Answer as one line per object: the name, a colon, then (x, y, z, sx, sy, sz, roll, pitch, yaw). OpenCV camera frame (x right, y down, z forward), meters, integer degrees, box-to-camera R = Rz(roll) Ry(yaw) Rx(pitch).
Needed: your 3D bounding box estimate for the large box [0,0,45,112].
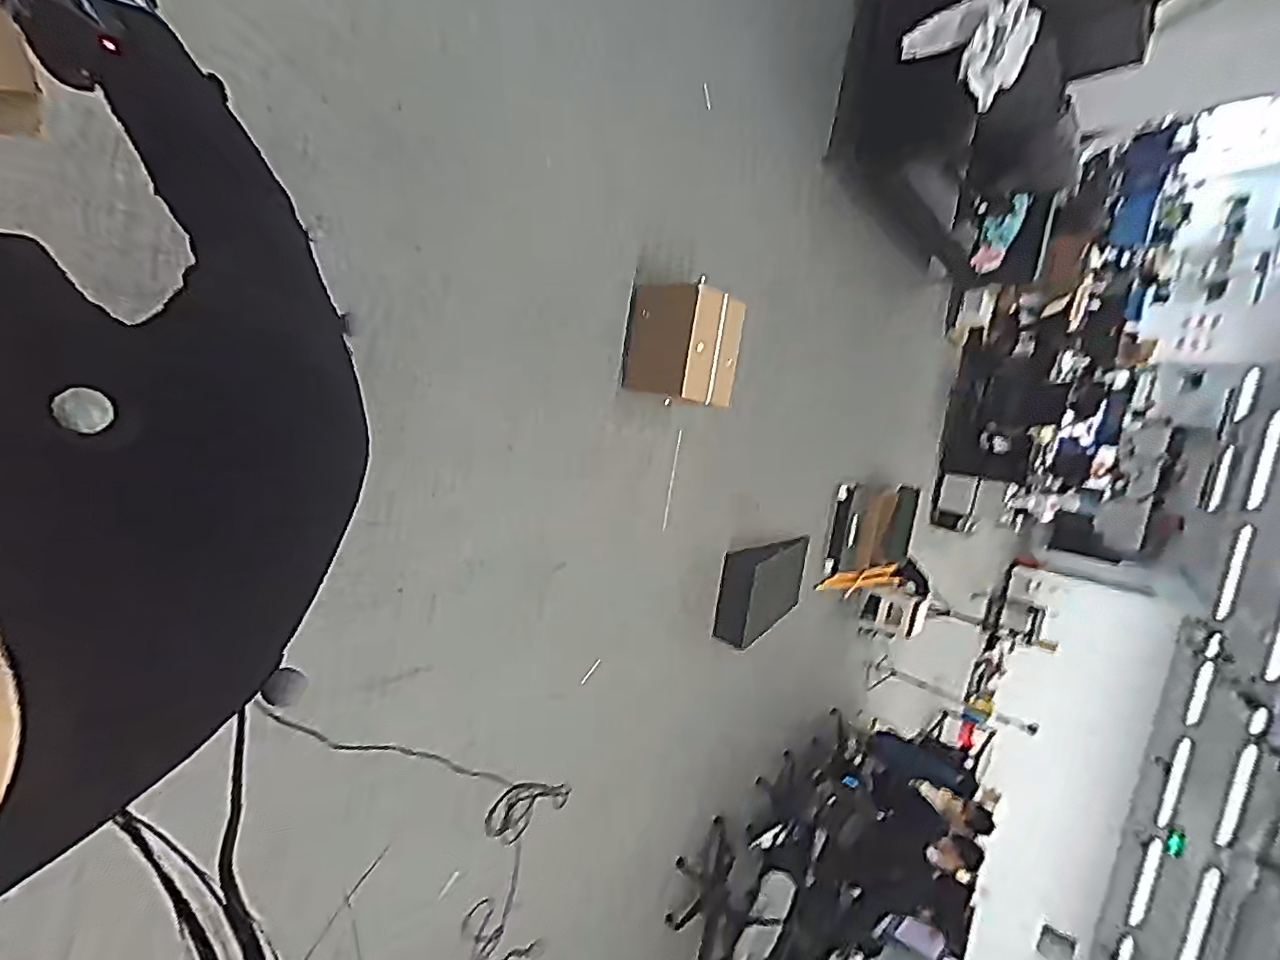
large box: (-0.682, -0.422, 0.301, 0.408, 0.320, 0.320, -22, 124, -40)
